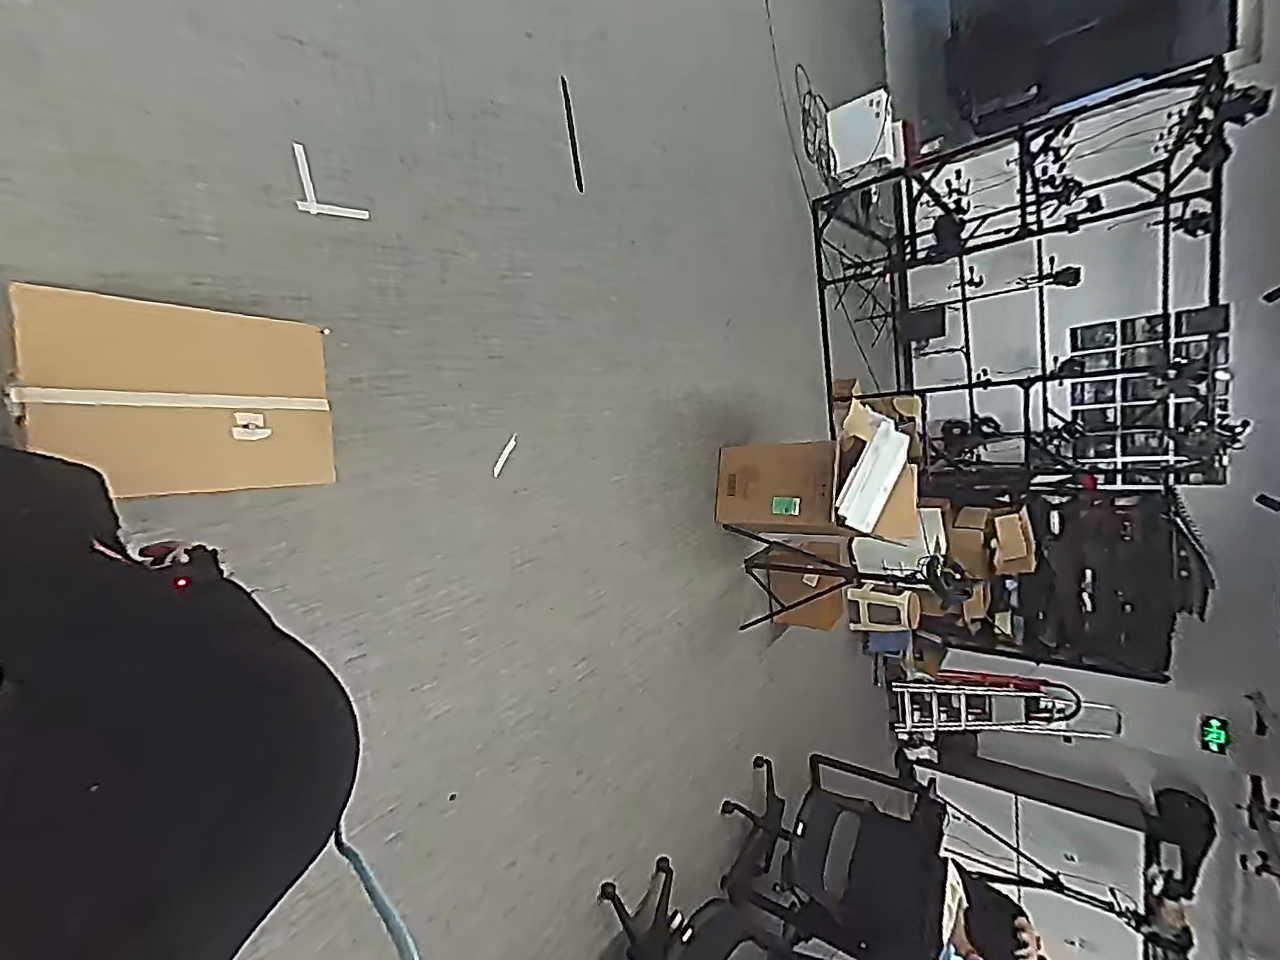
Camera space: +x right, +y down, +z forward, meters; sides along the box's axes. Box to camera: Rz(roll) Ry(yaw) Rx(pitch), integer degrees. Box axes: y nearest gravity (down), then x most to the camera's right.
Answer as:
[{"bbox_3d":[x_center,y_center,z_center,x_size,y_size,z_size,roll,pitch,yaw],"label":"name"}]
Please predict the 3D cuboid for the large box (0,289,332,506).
[{"bbox_3d":[-0.863,-0.129,1.002,0.408,0.320,0.320,-8,96,-53],"label":"large box"}]
